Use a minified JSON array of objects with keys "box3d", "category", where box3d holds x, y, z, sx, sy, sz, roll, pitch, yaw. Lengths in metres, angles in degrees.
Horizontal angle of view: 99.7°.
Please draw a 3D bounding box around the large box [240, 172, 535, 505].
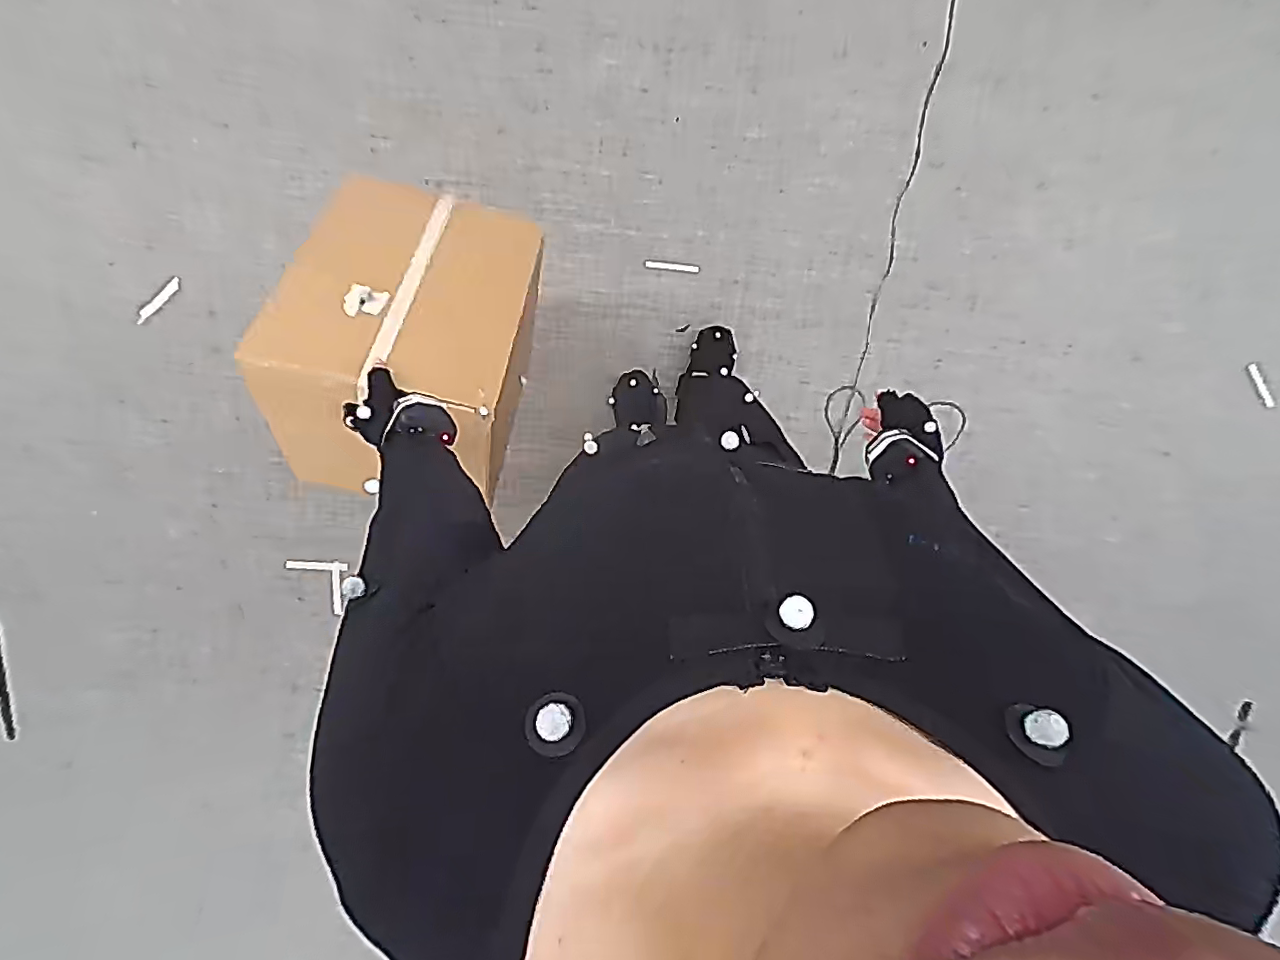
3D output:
[{"box3d":[-0.375,-0.220,0.915,0.320,0.320,0.408,11,61,-10],"category":"large box"}]
